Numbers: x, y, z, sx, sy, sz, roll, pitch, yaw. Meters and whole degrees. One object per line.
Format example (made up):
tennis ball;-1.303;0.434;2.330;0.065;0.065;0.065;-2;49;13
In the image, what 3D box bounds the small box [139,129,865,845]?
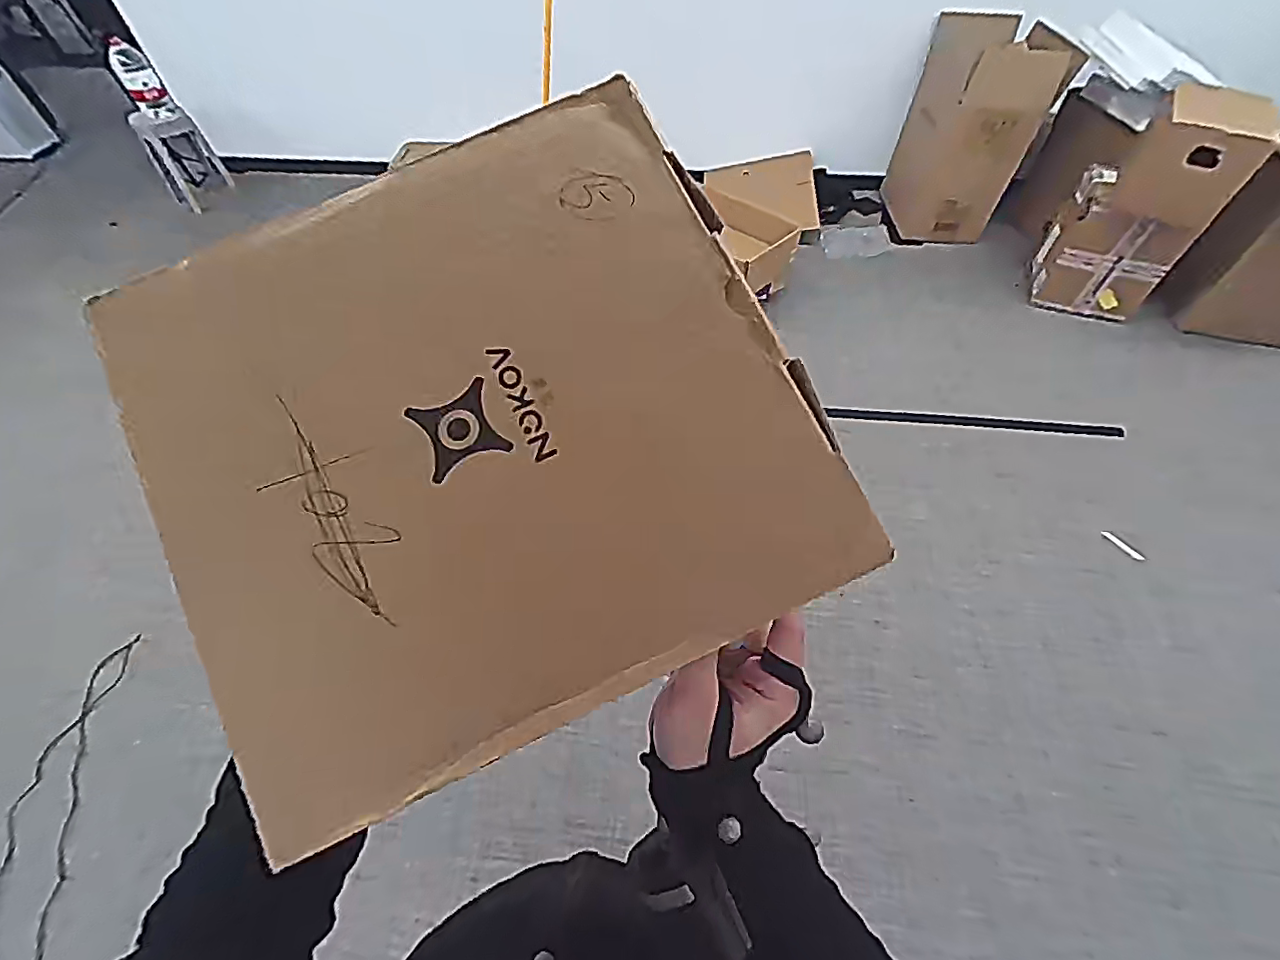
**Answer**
small box;-0.044;0.004;0.242;0.179;0.176;0.168;-27;80;-4
